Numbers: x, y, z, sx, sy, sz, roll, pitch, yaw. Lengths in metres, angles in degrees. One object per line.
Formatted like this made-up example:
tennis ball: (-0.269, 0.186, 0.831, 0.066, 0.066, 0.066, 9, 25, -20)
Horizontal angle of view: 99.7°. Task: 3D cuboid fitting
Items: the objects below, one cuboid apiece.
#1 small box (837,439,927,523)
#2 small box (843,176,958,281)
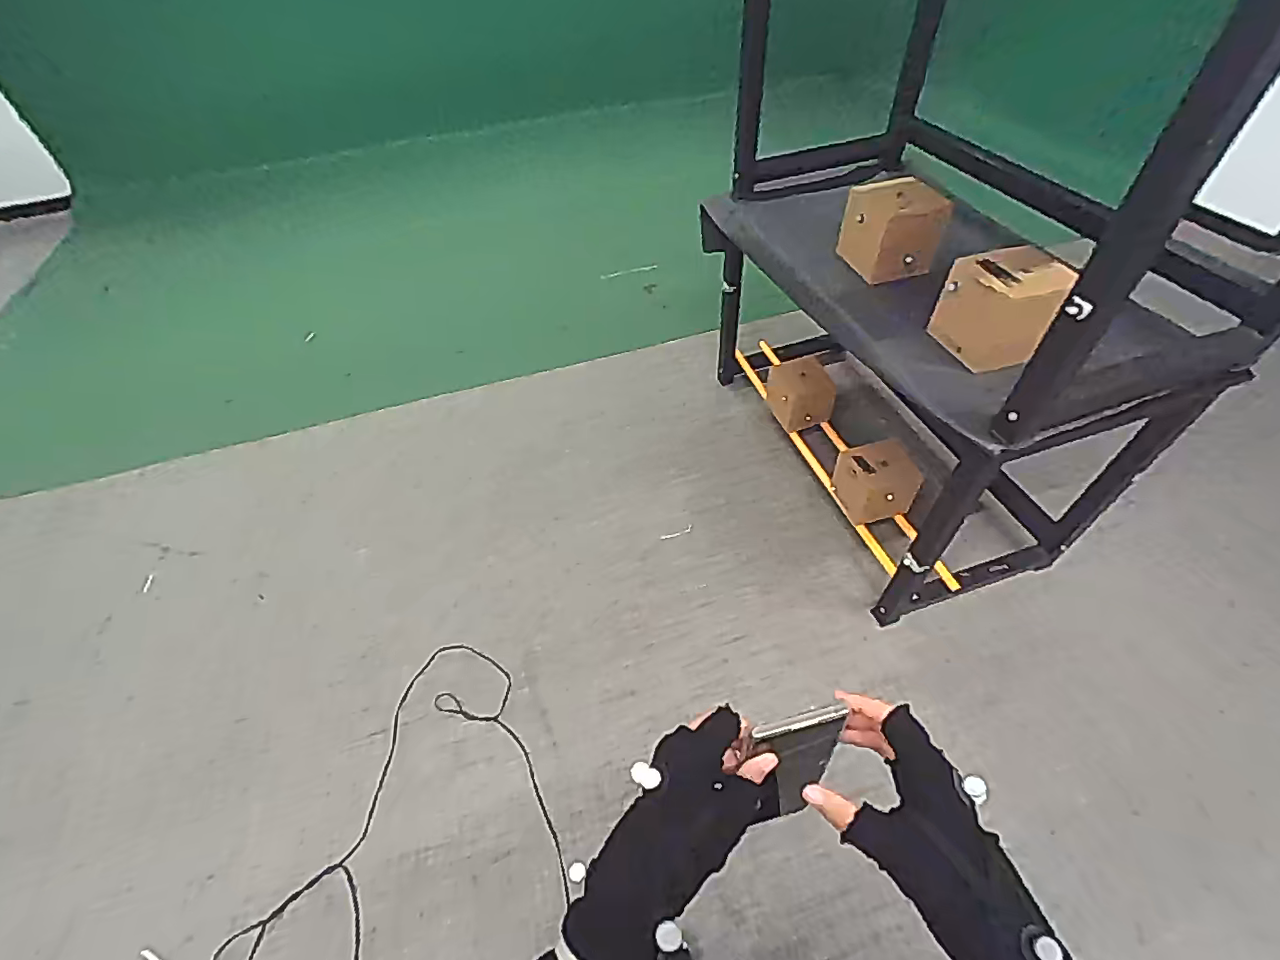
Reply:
small box: (0.706, 0.007, 1.607, 0.179, 0.176, 0.168, -13, 50, -6)
small box: (0.623, -0.613, 1.321, 0.168, 0.176, 0.179, -13, 50, -6)
